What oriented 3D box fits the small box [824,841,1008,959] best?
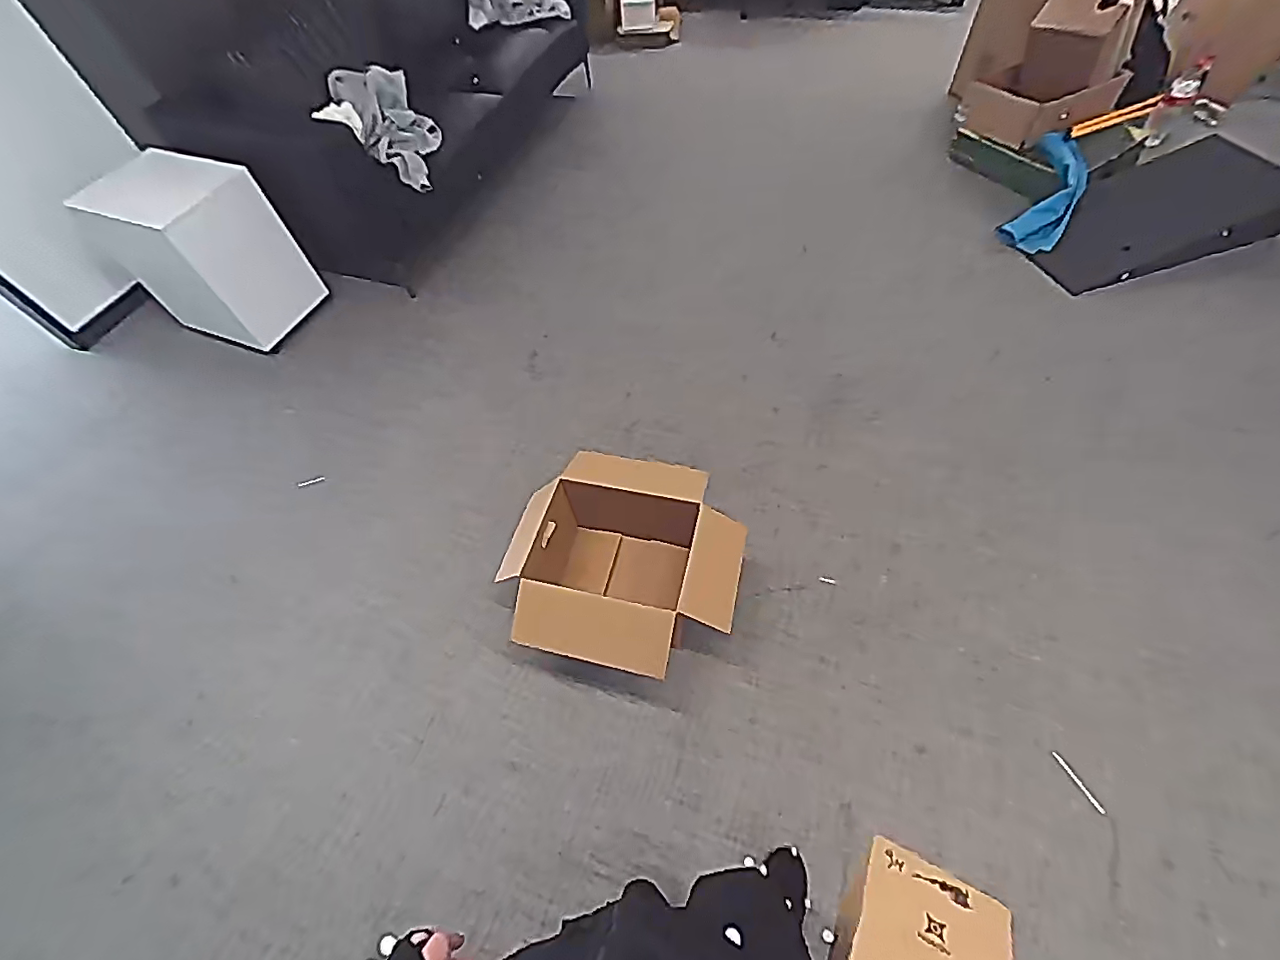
[{"bbox_3d":[0.326,0.613,0.664,0.168,0.176,0.179,21,29,26],"label":"small box"}]
